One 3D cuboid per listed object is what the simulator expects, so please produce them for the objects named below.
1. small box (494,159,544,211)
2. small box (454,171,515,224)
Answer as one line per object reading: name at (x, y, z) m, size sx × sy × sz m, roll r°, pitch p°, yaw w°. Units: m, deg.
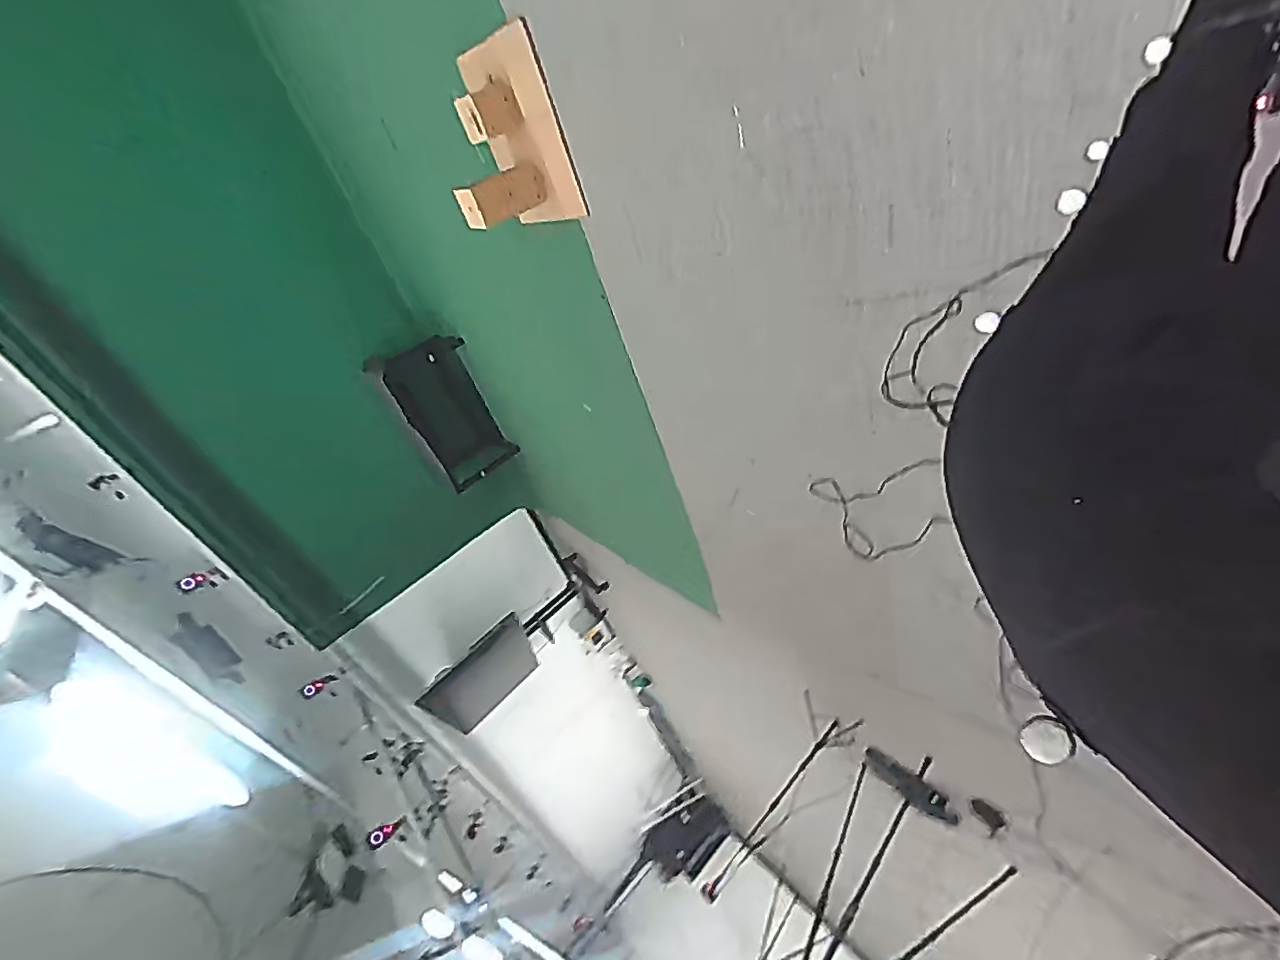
small box at (-0.562, -1.342, 2.462) m, size 0.179 × 0.176 × 0.168 m, roll 27°, pitch 148°, yaw 45°
small box at (-0.687, -1.256, 2.405) m, size 0.179 × 0.176 × 0.168 m, roll 27°, pitch 147°, yaw 44°
